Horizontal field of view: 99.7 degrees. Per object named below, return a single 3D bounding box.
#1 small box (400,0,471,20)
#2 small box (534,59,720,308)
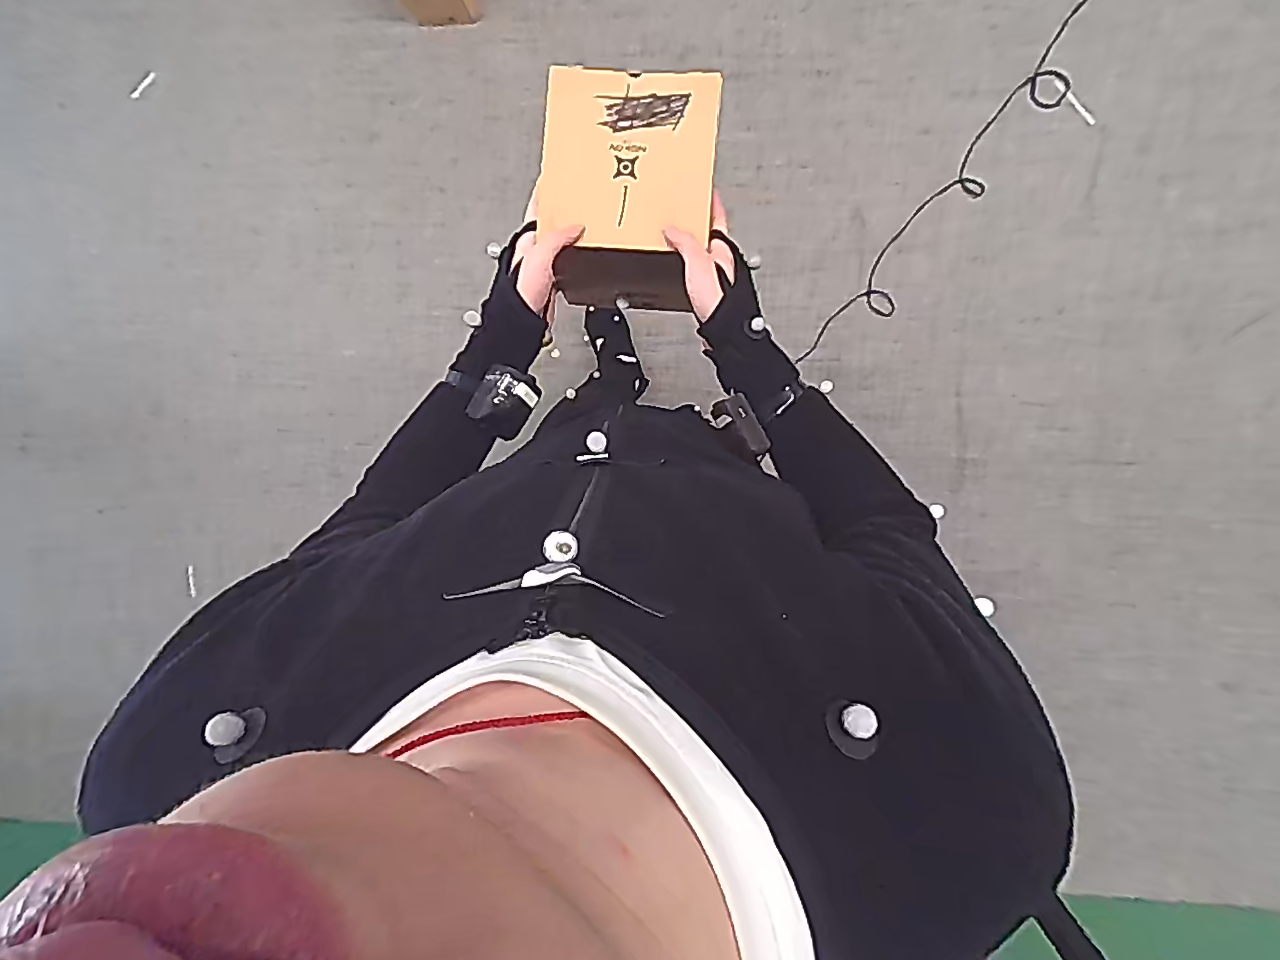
[{"bbox_3d":[-0.511,-1.248,1.284,0.168,0.176,0.179,3,100,4],"label":"small box"},{"bbox_3d":[-0.009,-0.307,0.590,0.168,0.176,0.179,4,89,3],"label":"small box"}]
